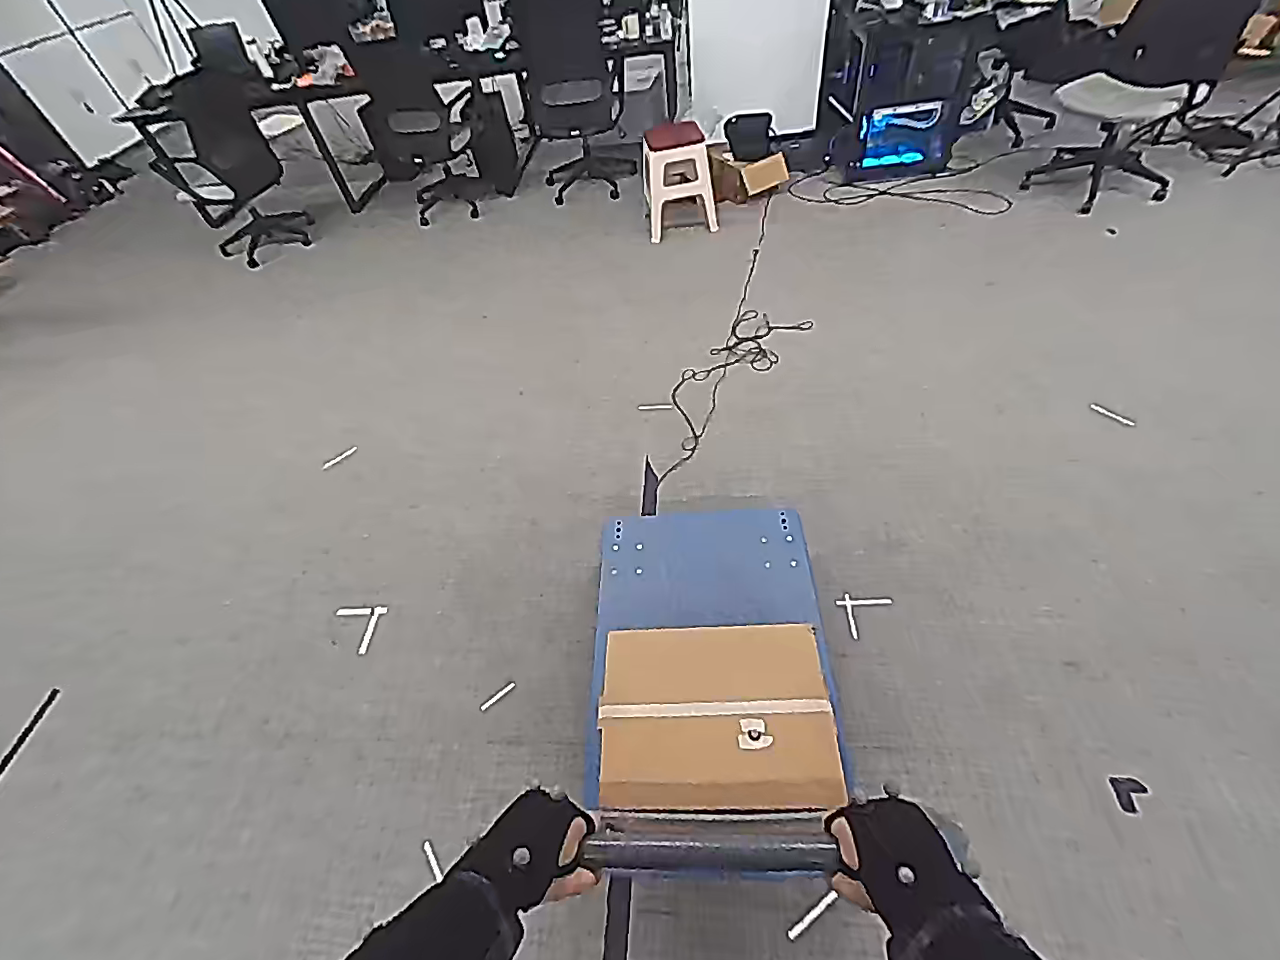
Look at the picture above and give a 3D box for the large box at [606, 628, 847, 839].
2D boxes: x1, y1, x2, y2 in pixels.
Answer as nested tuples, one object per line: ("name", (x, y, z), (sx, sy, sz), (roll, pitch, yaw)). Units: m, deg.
("large box", (0.153, 0.518, 1.092), (0.408, 0.320, 0.320), (-4, 51, 5))
